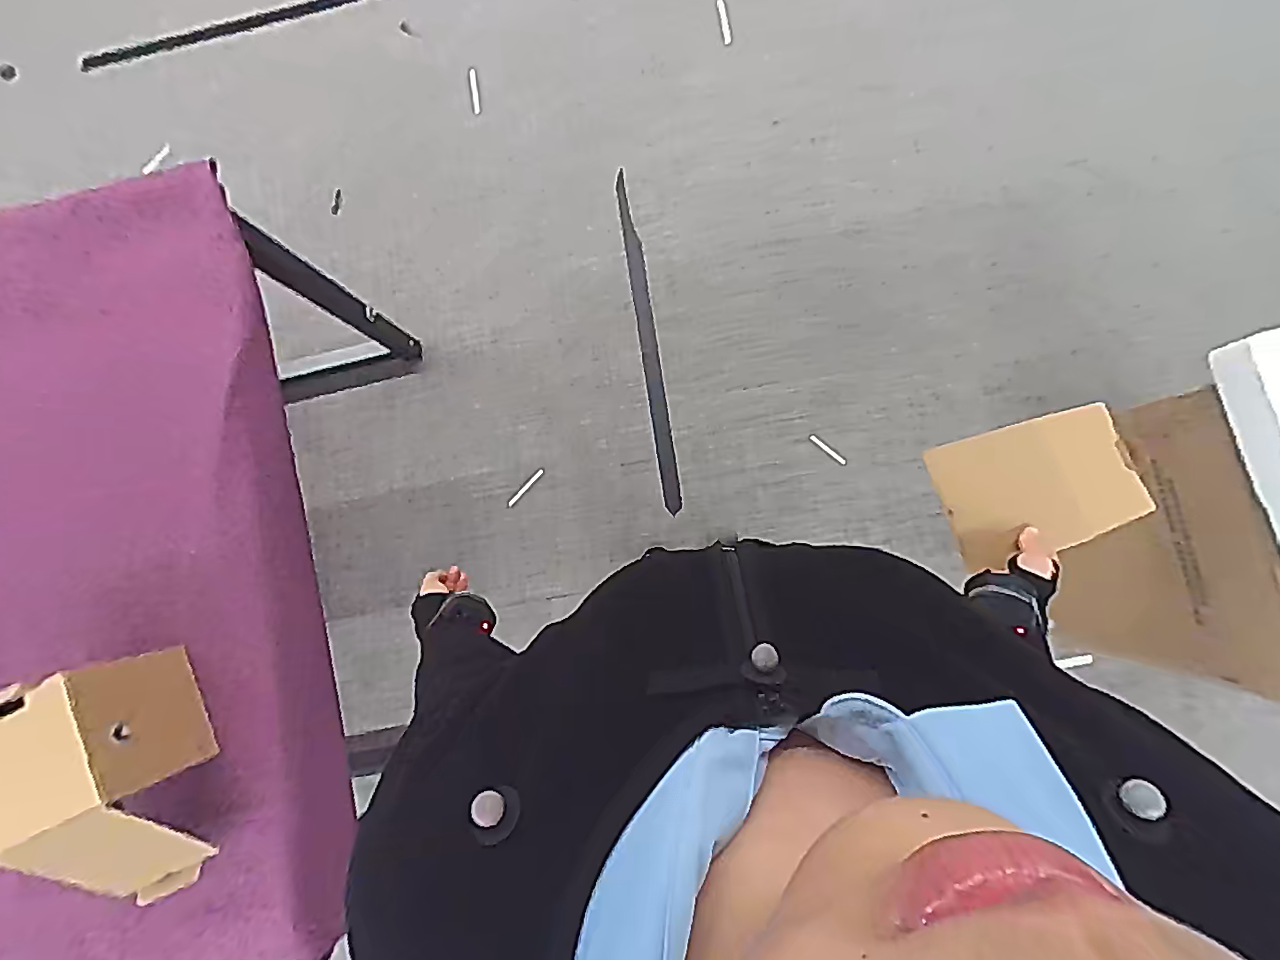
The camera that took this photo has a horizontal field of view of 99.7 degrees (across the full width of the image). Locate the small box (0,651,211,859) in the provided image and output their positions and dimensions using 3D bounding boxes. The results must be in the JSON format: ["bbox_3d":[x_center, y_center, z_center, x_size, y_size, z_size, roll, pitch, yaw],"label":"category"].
[{"bbox_3d":[-0.744,0.360,0.740,0.168,0.176,0.179,-25,82,2],"label":"small box"}]
